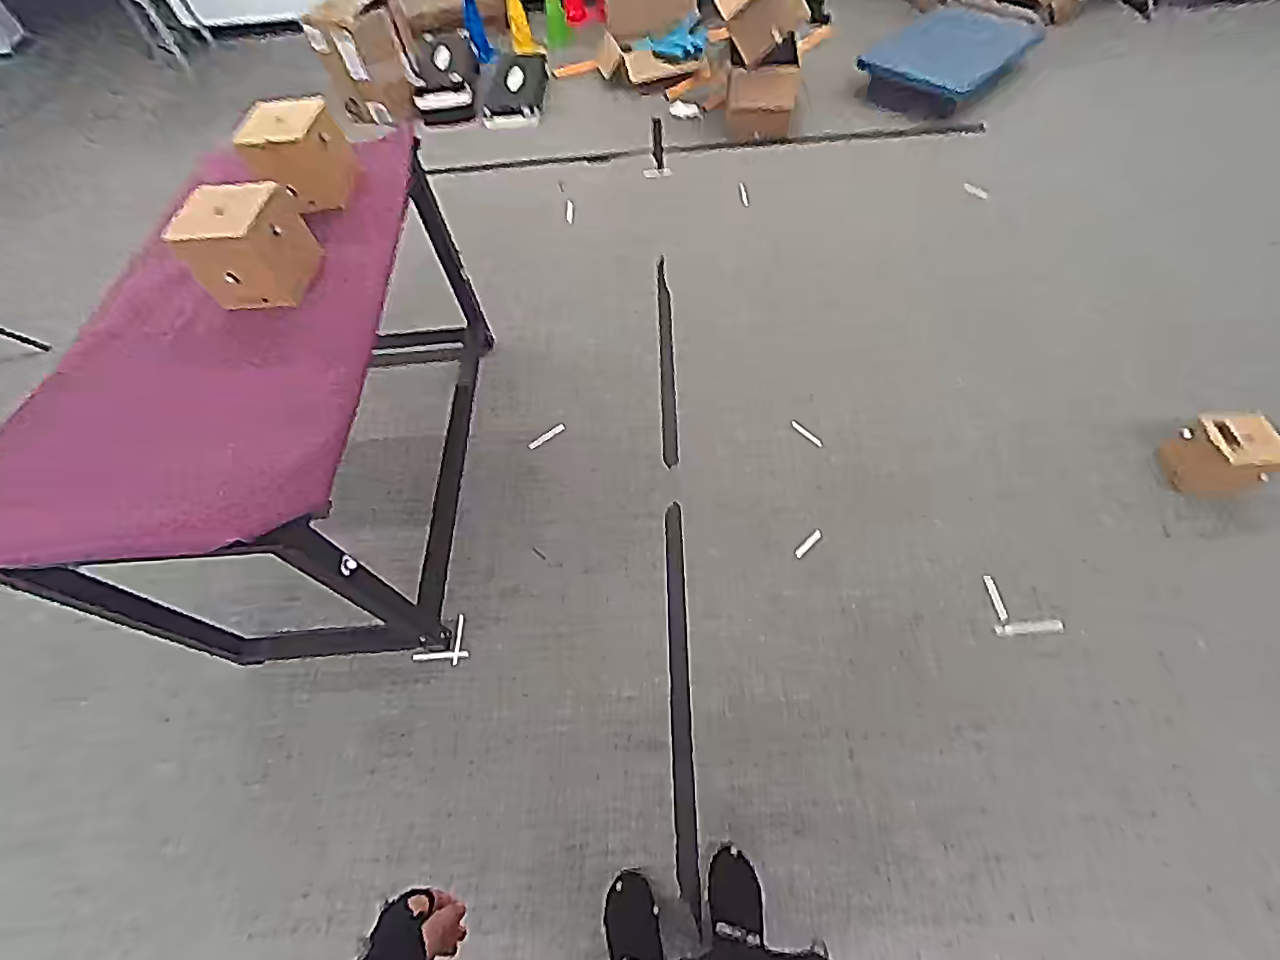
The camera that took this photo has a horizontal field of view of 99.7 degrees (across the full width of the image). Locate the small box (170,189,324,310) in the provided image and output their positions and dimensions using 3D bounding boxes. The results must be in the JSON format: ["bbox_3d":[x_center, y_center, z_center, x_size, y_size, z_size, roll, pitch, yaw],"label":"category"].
[{"bbox_3d":[-0.793,-0.467,1.116,0.168,0.176,0.179,-1,58,3],"label":"small box"}]

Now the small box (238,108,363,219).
[{"bbox_3d":[-0.797,-0.753,1.293,0.168,0.176,0.179,-2,59,5],"label":"small box"}]
